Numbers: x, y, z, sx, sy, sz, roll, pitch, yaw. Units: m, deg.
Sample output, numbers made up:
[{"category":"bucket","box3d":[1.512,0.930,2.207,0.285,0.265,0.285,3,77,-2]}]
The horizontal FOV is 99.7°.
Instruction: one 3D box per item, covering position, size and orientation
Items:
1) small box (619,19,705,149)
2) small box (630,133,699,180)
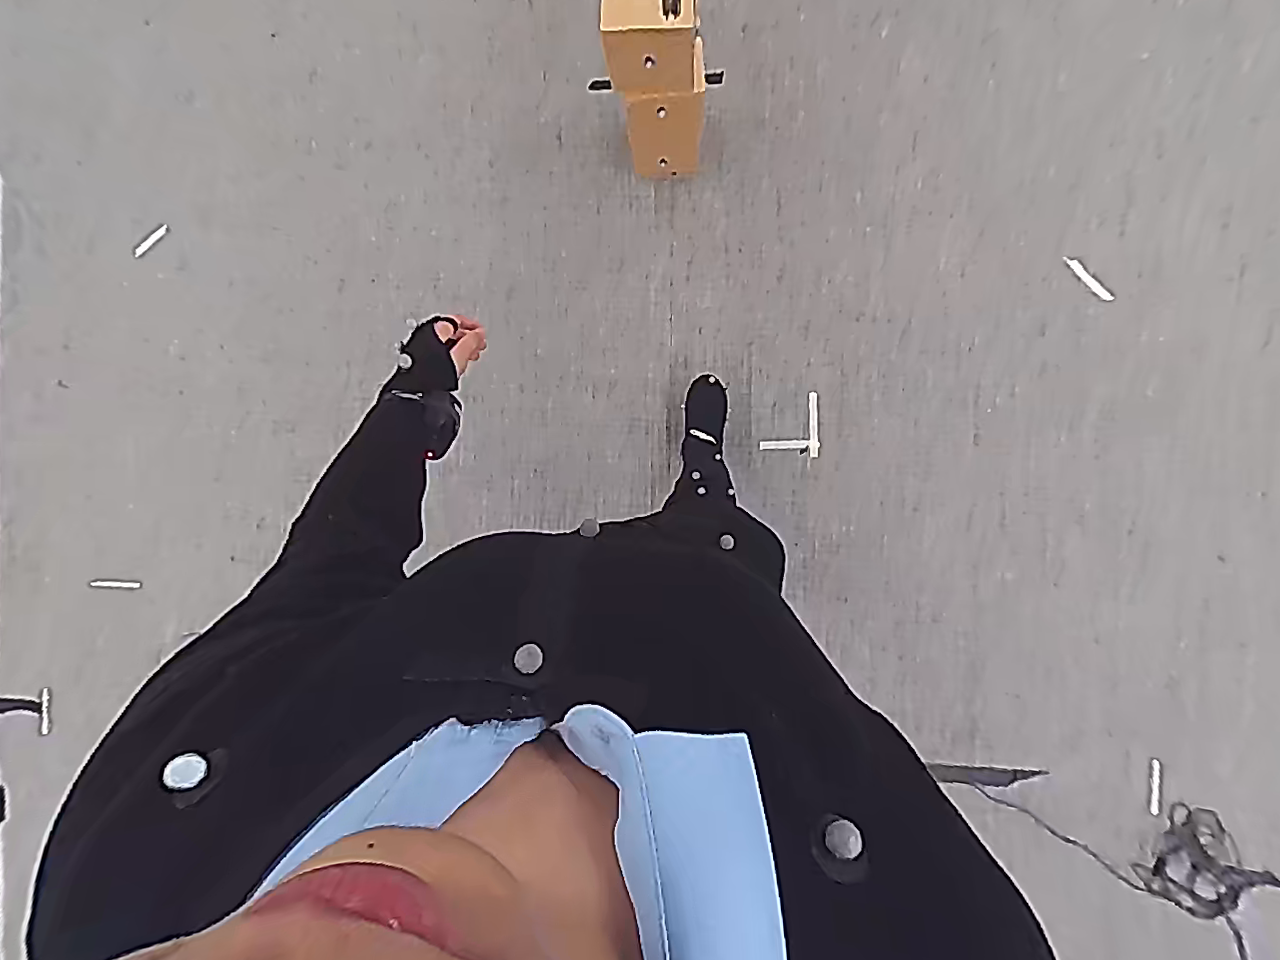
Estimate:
[{"category":"small box","box3d":[0.052,-0.890,1.232,0.179,0.176,0.168,-5,90,5]},{"category":"small box","box3d":[0.069,-0.901,1.393,0.168,0.176,0.179,4,90,4]}]
